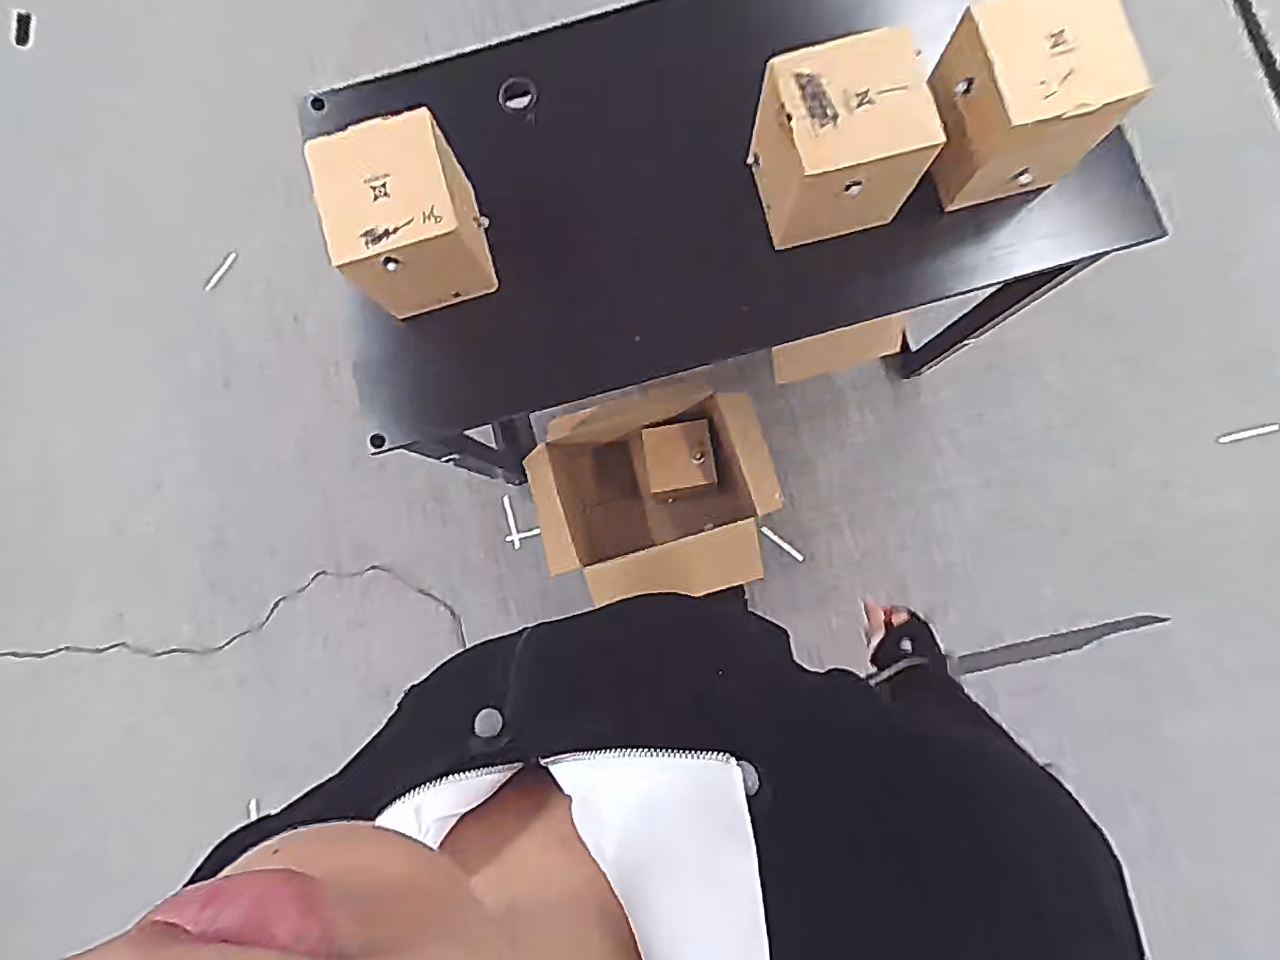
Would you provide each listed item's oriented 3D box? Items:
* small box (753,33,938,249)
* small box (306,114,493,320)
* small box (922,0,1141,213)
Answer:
[{"bbox_3d":[0.260,-0.444,0.737,0.179,0.176,0.168,-13,83,1],"label":"small box"},{"bbox_3d":[-0.323,-0.354,0.756,0.168,0.176,0.179,-16,83,1],"label":"small box"},{"bbox_3d":[0.499,-0.502,0.730,0.168,0.176,0.179,-13,83,2],"label":"small box"}]
